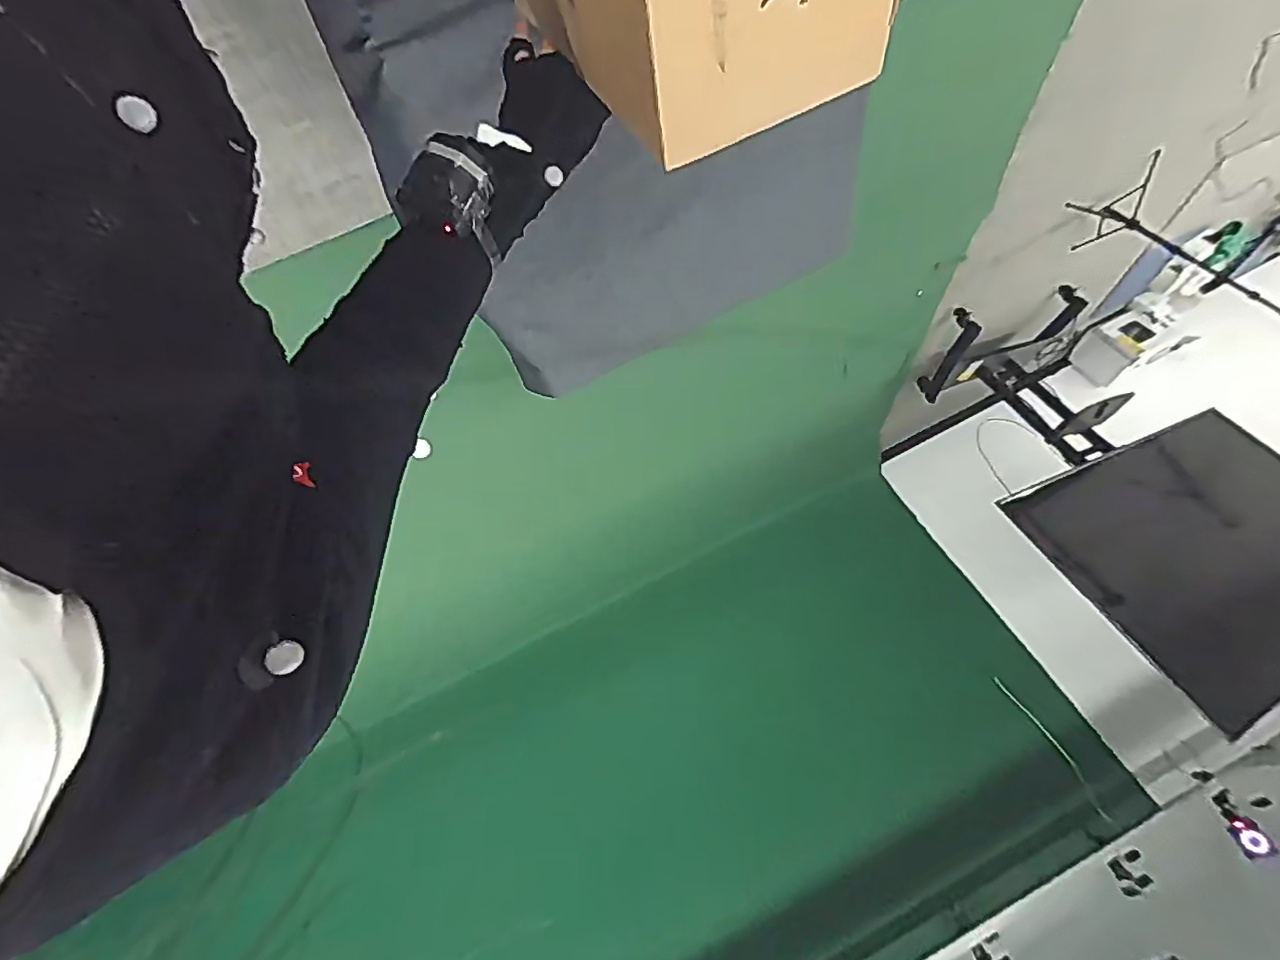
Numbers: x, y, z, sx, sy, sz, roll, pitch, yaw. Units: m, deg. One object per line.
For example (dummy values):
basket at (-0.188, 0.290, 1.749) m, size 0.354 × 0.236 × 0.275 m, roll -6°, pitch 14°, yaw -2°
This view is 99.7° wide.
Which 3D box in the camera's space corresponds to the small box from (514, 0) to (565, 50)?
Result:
small box at (-0.020, -0.465, 0.426) m, size 0.179 × 0.176 × 0.168 m, roll -28°, pitch 151°, yaw -6°
